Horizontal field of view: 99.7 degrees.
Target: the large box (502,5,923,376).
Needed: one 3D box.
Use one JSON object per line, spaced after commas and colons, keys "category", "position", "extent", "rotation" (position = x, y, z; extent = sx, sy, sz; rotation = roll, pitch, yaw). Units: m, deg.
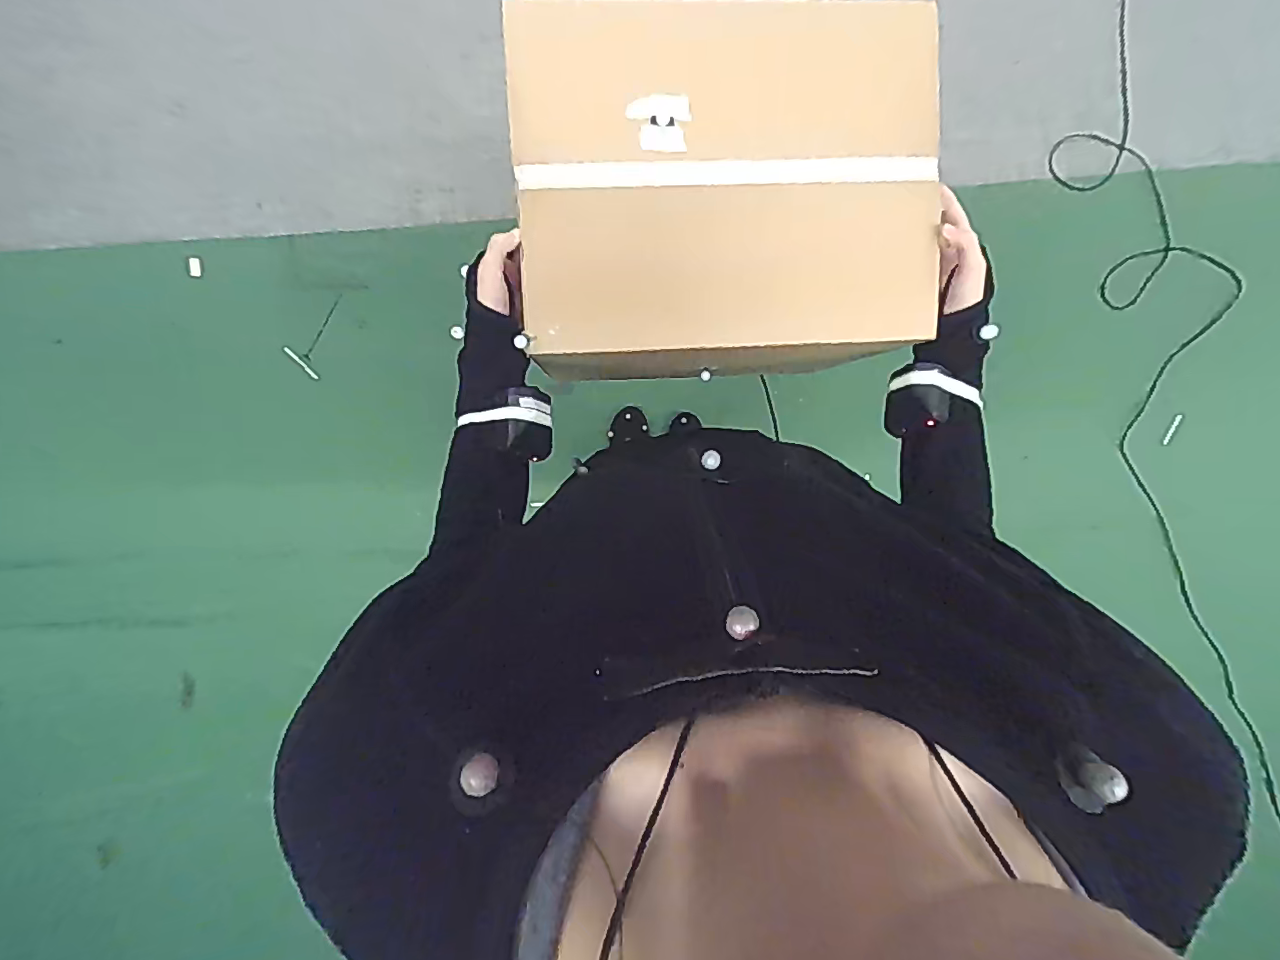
{"category": "large box", "position": [0.072, -0.303, 0.668], "extent": [0.408, 0.320, 0.320], "rotation": [-3, 96, -3]}
